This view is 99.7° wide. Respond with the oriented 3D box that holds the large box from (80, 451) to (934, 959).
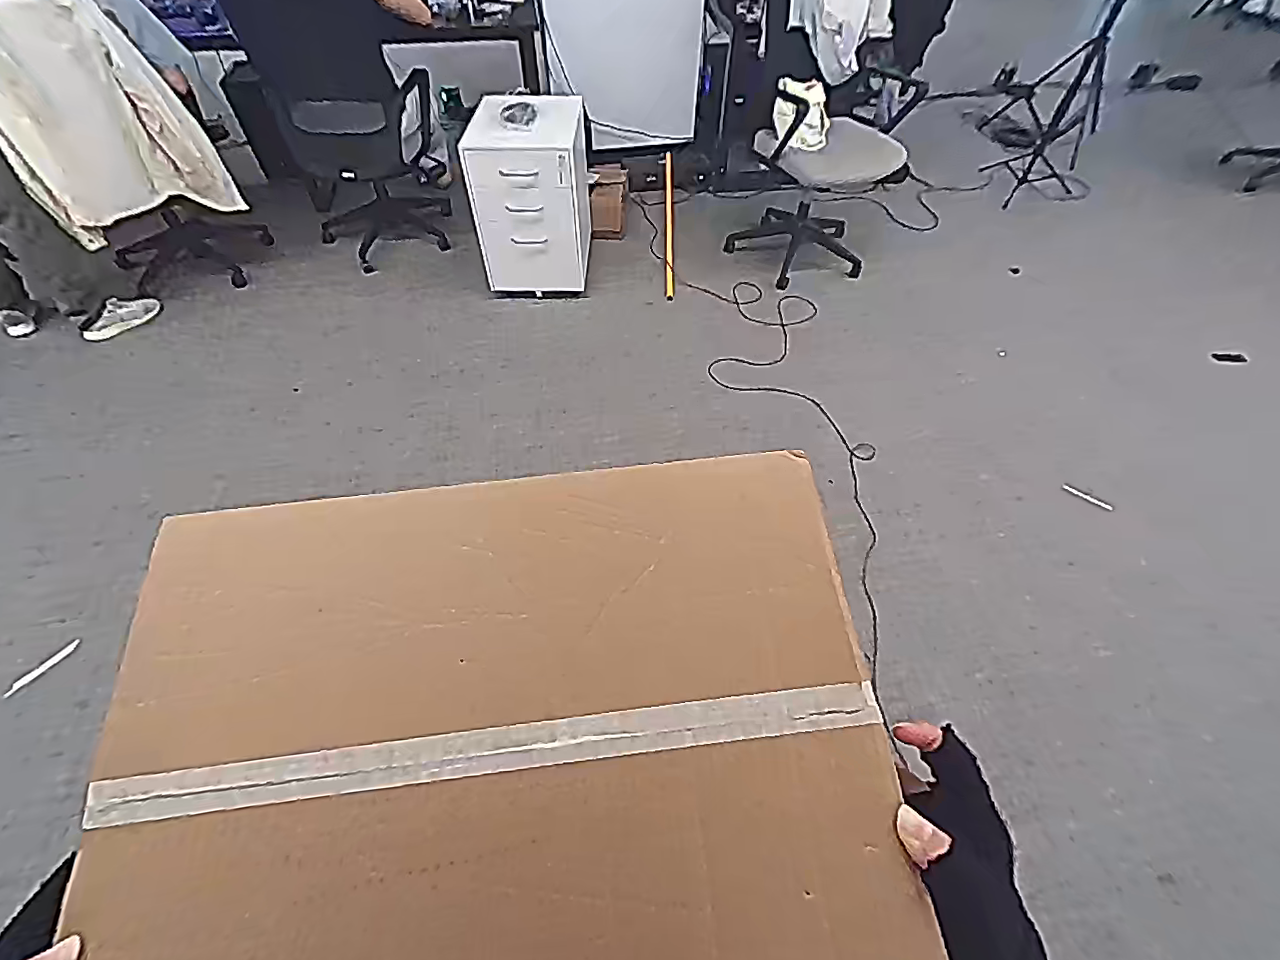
[{"bbox_3d":[-0.075,0.204,0.429,0.408,0.320,0.320,-6,66,-2],"label":"large box"}]
